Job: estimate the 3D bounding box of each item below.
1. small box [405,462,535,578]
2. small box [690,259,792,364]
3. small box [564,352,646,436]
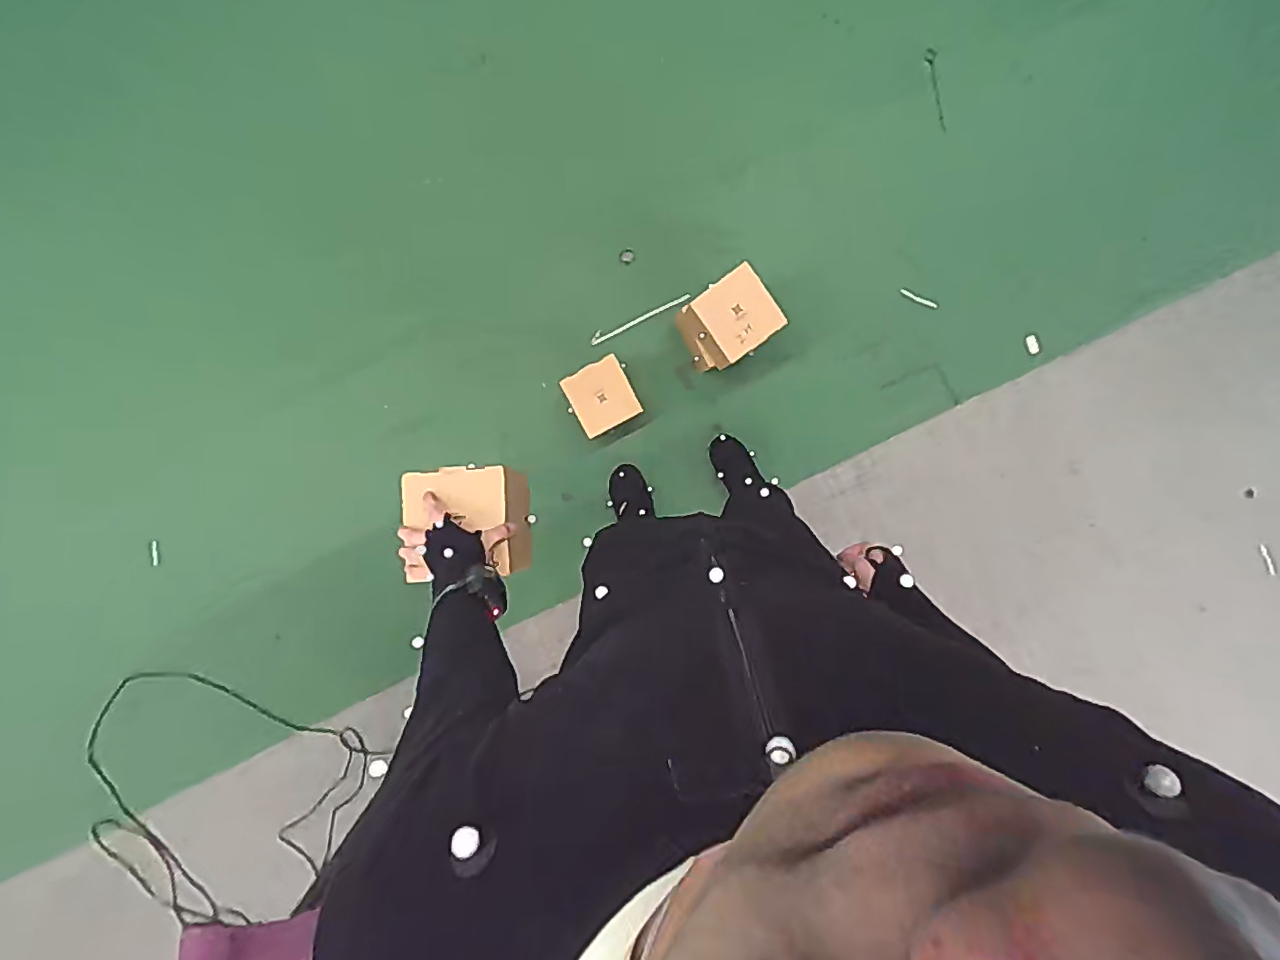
[{"bbox_3d":[-0.283,0.070,0.927,0.168,0.176,0.179,-4,86,4],"label":"small box"},{"bbox_3d":[0.239,-0.403,1.331,0.168,0.176,0.179,-36,96,4],"label":"small box"},{"bbox_3d":[-0.090,-0.238,1.514,0.168,0.176,0.179,-27,95,3],"label":"small box"}]
